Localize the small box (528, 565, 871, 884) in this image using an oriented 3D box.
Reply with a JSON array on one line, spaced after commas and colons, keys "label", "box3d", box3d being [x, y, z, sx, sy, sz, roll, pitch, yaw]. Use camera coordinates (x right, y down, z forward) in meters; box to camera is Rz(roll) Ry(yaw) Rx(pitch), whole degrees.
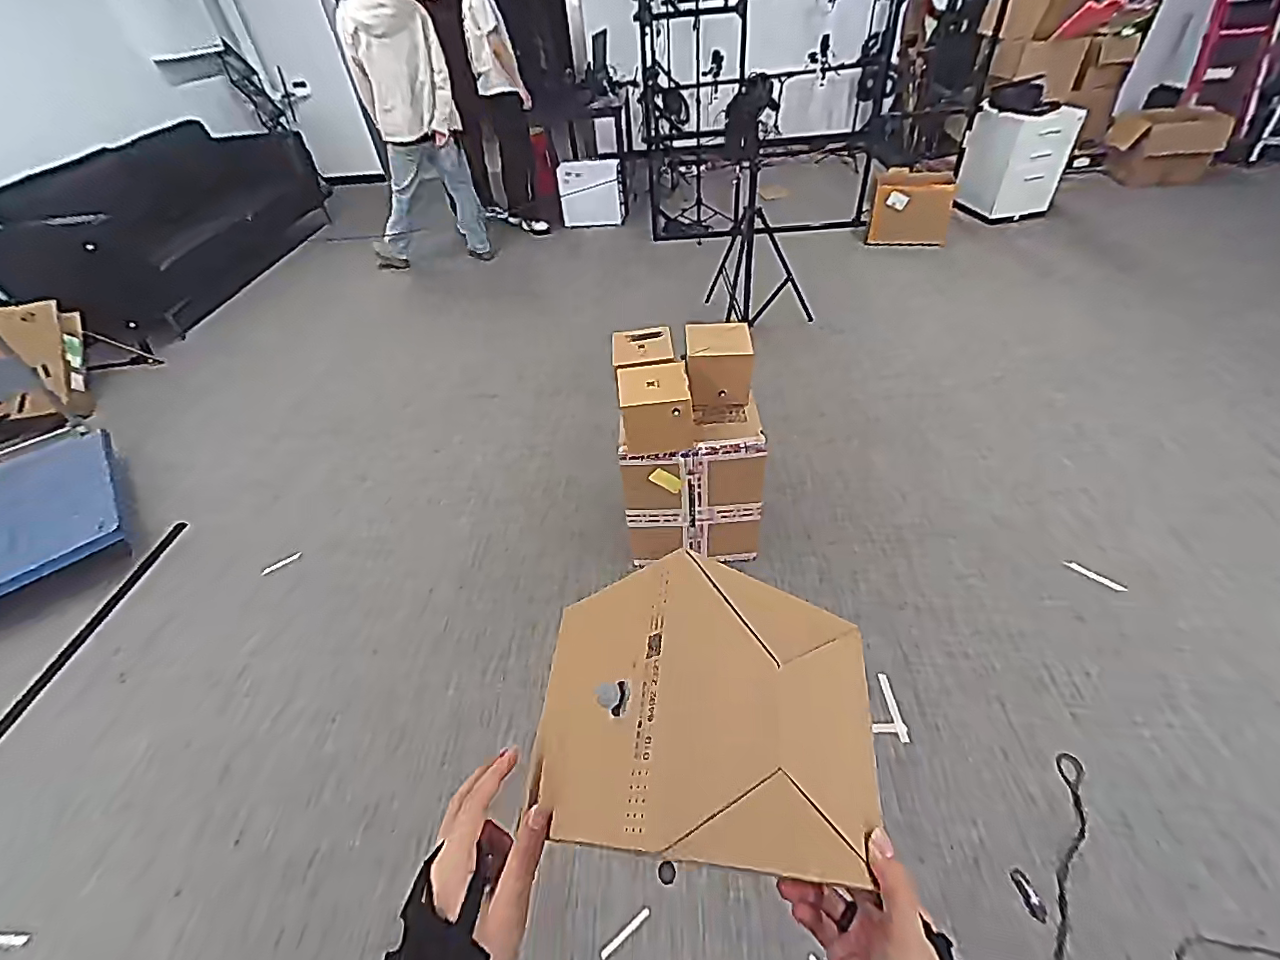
[{"label": "small box", "box3d": [0.045, 0.184, 0.403, 0.179, 0.176, 0.168, 27, 51, -24]}]
